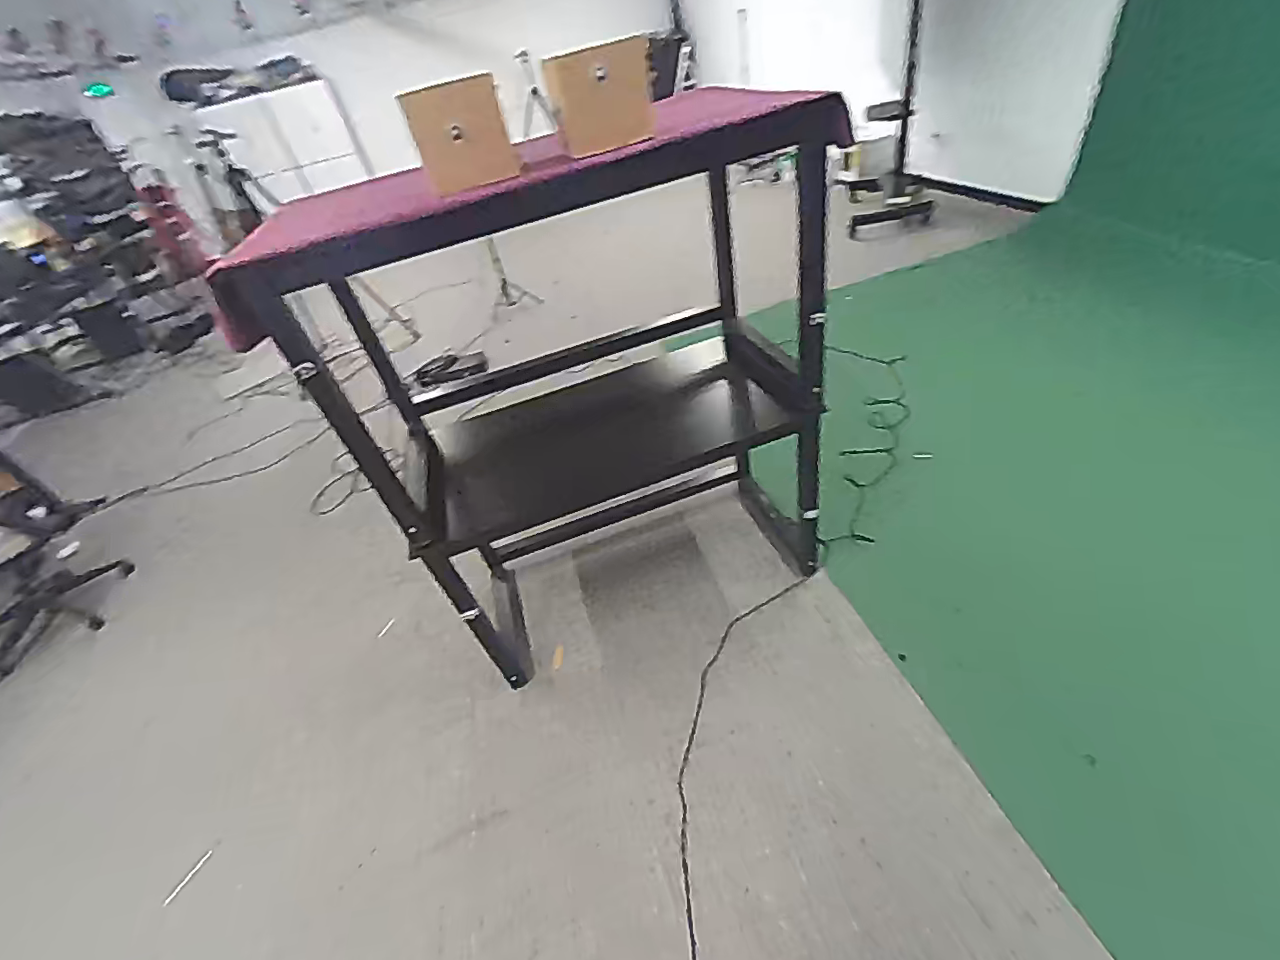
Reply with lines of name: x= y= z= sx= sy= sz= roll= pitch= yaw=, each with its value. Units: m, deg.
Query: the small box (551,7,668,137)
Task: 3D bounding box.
small box: x=-0.059 y=-0.785 z=1.049 sx=0.179 sy=0.176 sz=0.168 roll=-17 pitch=40 yaw=-5

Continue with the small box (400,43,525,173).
small box: x=-0.324 y=-0.709 z=1.031 sx=0.179 sy=0.176 sz=0.168 roll=-15 pitch=40 yaw=-2
